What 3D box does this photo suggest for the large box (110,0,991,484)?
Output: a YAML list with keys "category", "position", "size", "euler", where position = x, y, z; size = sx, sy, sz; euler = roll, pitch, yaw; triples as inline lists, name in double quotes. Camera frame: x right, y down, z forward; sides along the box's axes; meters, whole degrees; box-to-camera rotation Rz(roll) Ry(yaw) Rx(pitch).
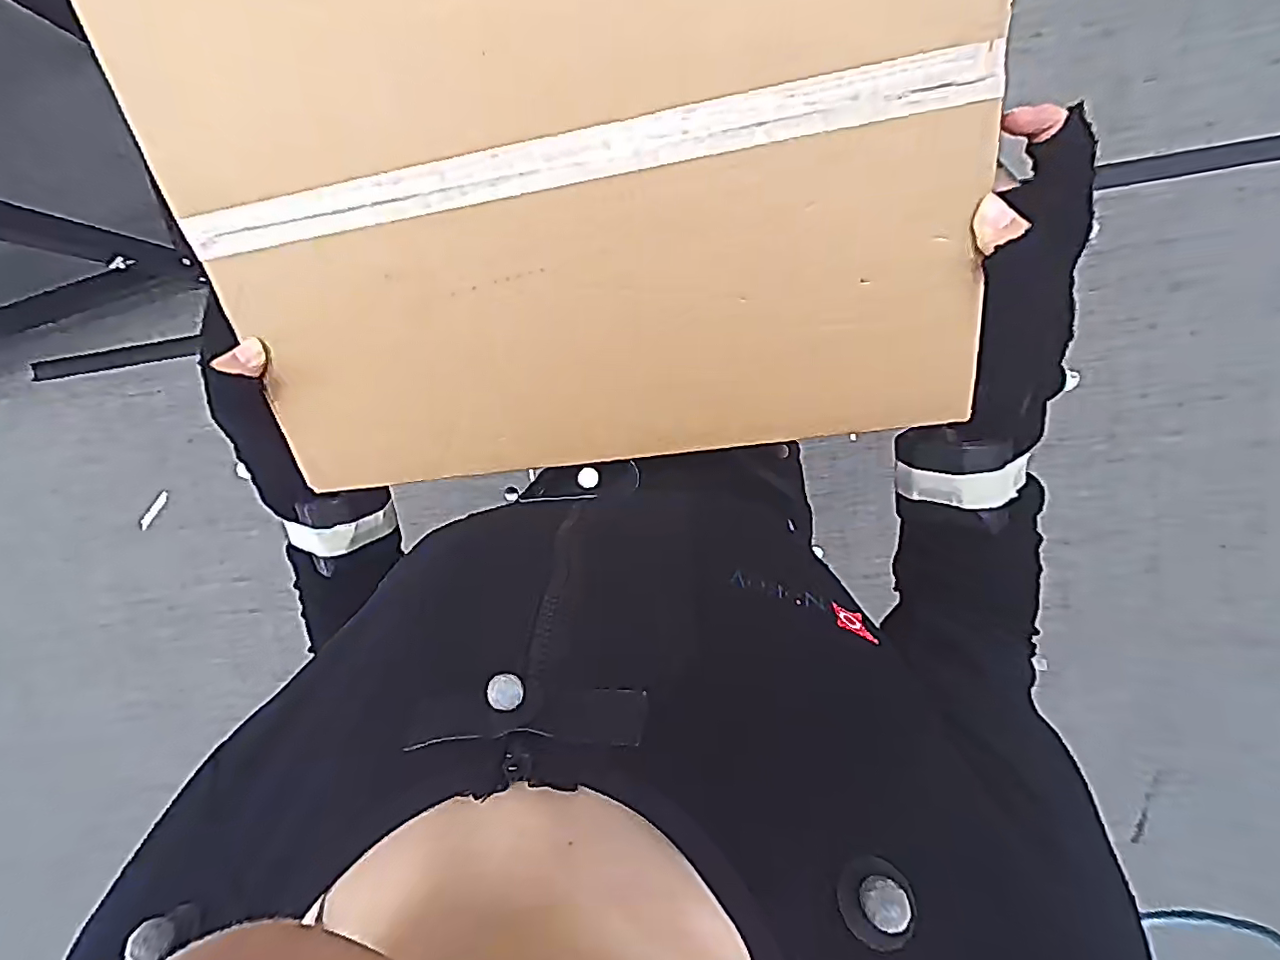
- category: "large box"
  position: [-0.028, -0.220, 0.404]
  size: [0.408, 0.320, 0.320]
  euler: [-6, 116, 10]
